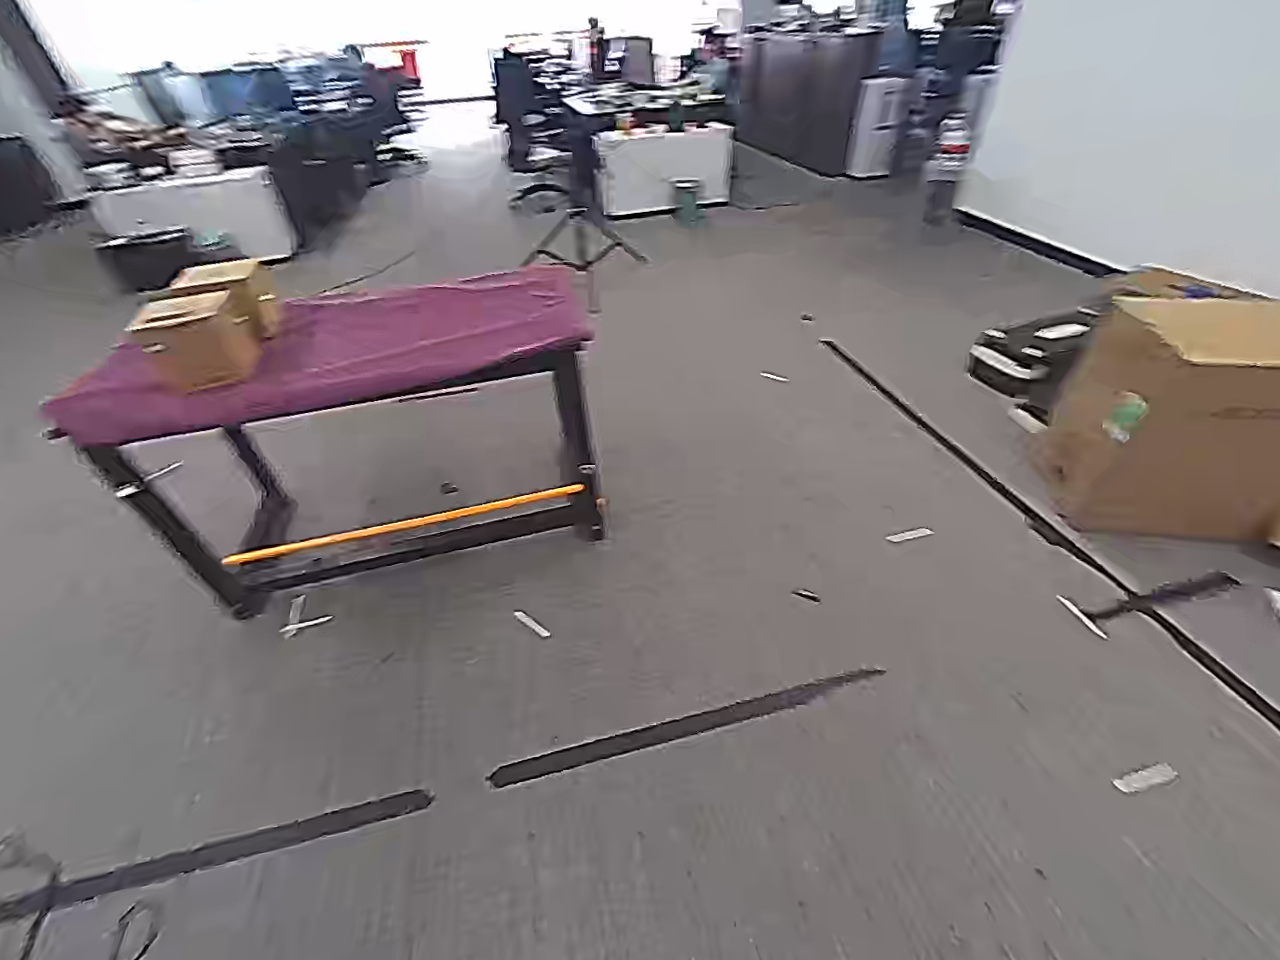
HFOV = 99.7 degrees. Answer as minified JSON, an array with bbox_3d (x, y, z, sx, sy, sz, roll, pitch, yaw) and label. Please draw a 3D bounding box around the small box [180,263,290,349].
[{"bbox_3d":[-1.113,-0.484,1.506,0.179,0.176,0.168,-14,42,-12],"label":"small box"}]
